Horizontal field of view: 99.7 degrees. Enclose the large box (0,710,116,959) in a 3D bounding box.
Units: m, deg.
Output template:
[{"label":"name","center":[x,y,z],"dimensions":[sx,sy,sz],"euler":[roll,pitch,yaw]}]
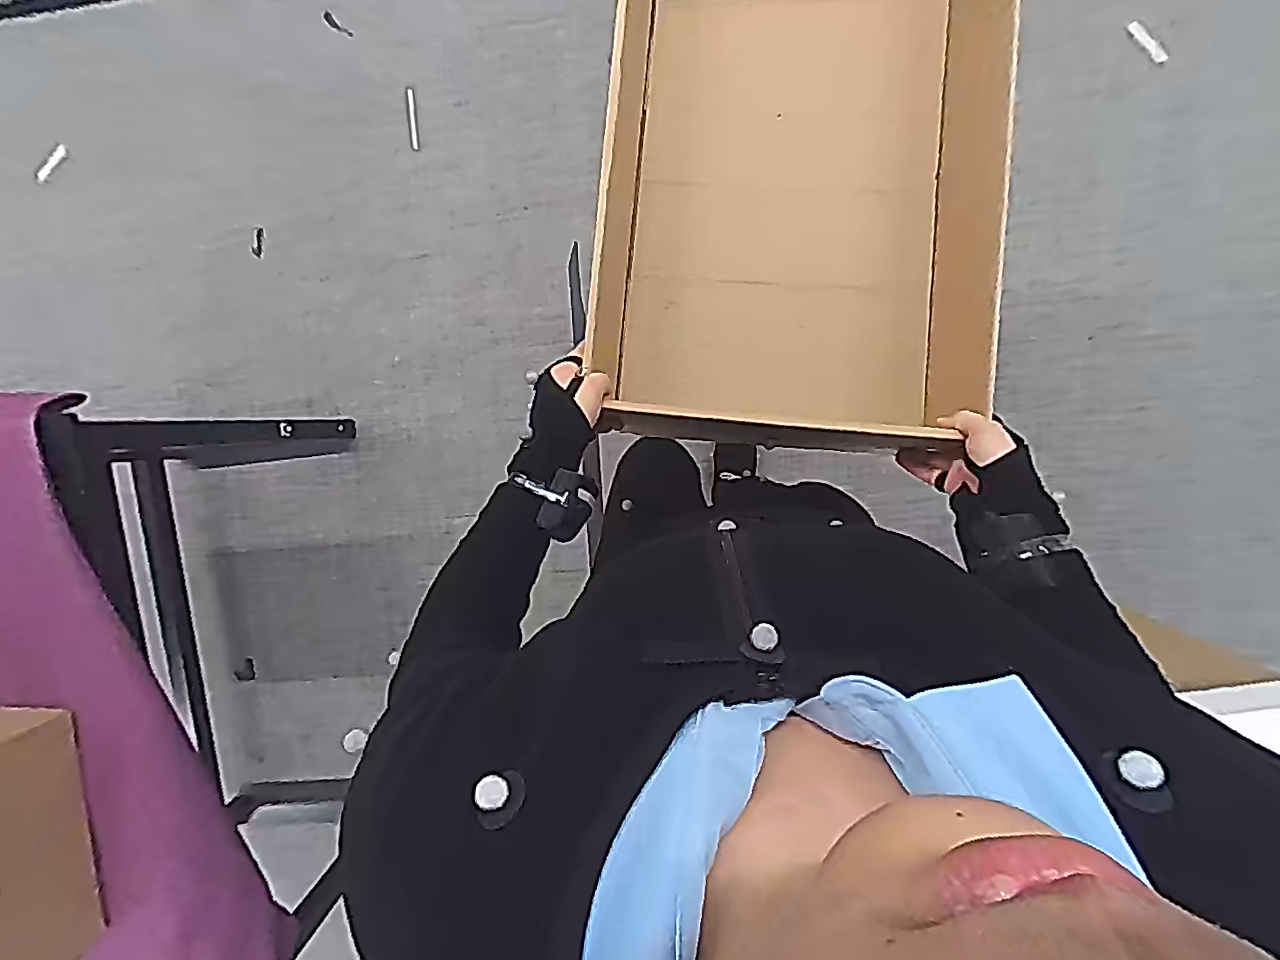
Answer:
[{"label":"large box","center":[-1.060,0.592,0.760],"dimensions":[0.320,0.320,0.408],"euler":[-3,97,8]}]
